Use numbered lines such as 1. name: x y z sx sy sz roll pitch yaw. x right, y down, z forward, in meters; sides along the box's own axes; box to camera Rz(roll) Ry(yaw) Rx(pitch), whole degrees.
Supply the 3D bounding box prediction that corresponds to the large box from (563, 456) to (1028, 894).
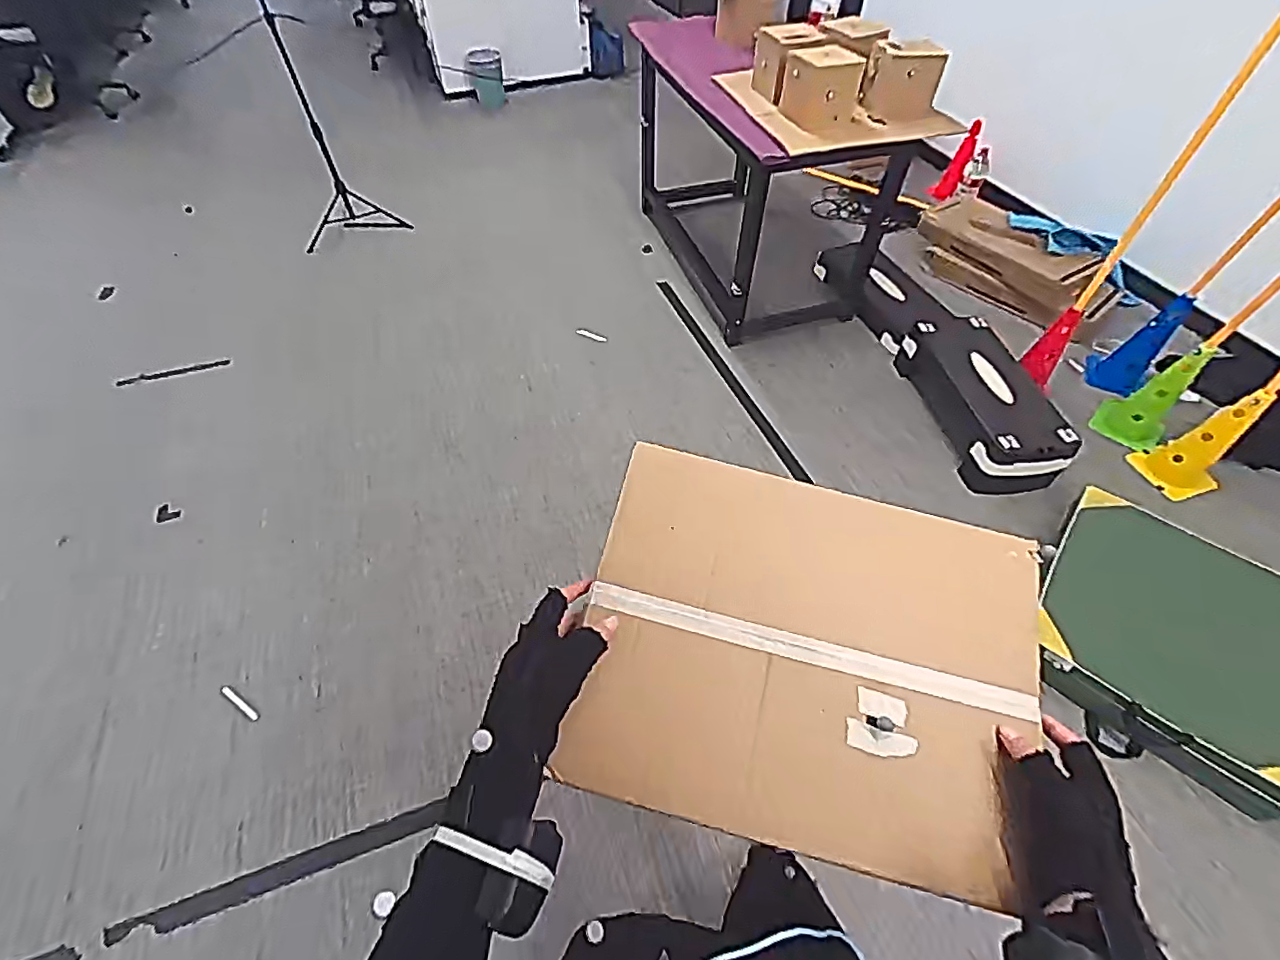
1. large box: 0.152 0.208 0.645 0.408 0.320 0.320 15 71 3
